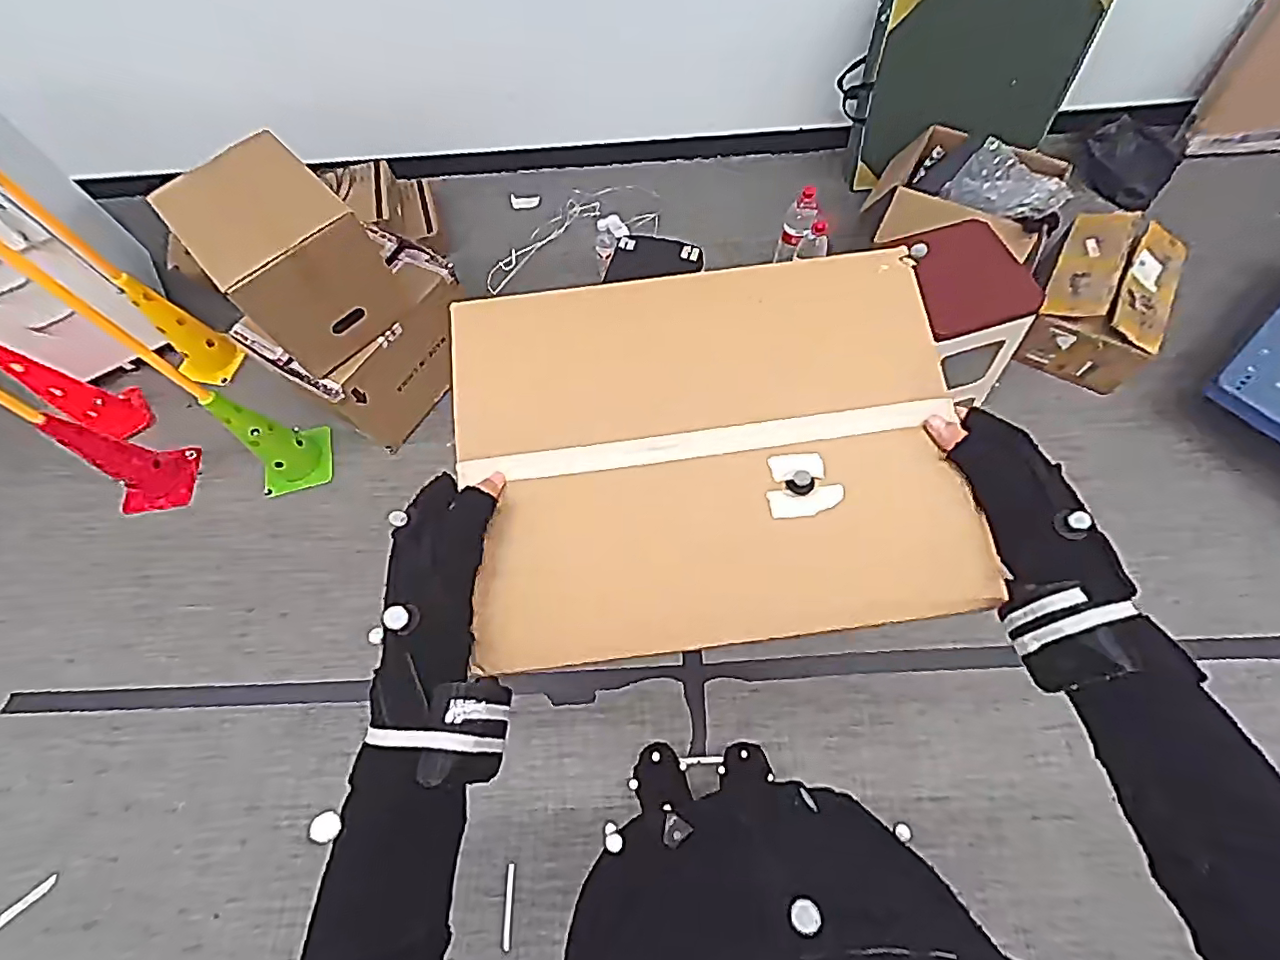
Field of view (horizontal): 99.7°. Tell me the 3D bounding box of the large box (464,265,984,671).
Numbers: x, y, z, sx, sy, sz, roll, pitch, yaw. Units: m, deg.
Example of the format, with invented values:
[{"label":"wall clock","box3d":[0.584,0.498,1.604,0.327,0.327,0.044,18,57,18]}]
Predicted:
[{"label":"large box","box3d":[0.057,0.012,0.601,0.408,0.320,0.320,-7,76,-1]}]
